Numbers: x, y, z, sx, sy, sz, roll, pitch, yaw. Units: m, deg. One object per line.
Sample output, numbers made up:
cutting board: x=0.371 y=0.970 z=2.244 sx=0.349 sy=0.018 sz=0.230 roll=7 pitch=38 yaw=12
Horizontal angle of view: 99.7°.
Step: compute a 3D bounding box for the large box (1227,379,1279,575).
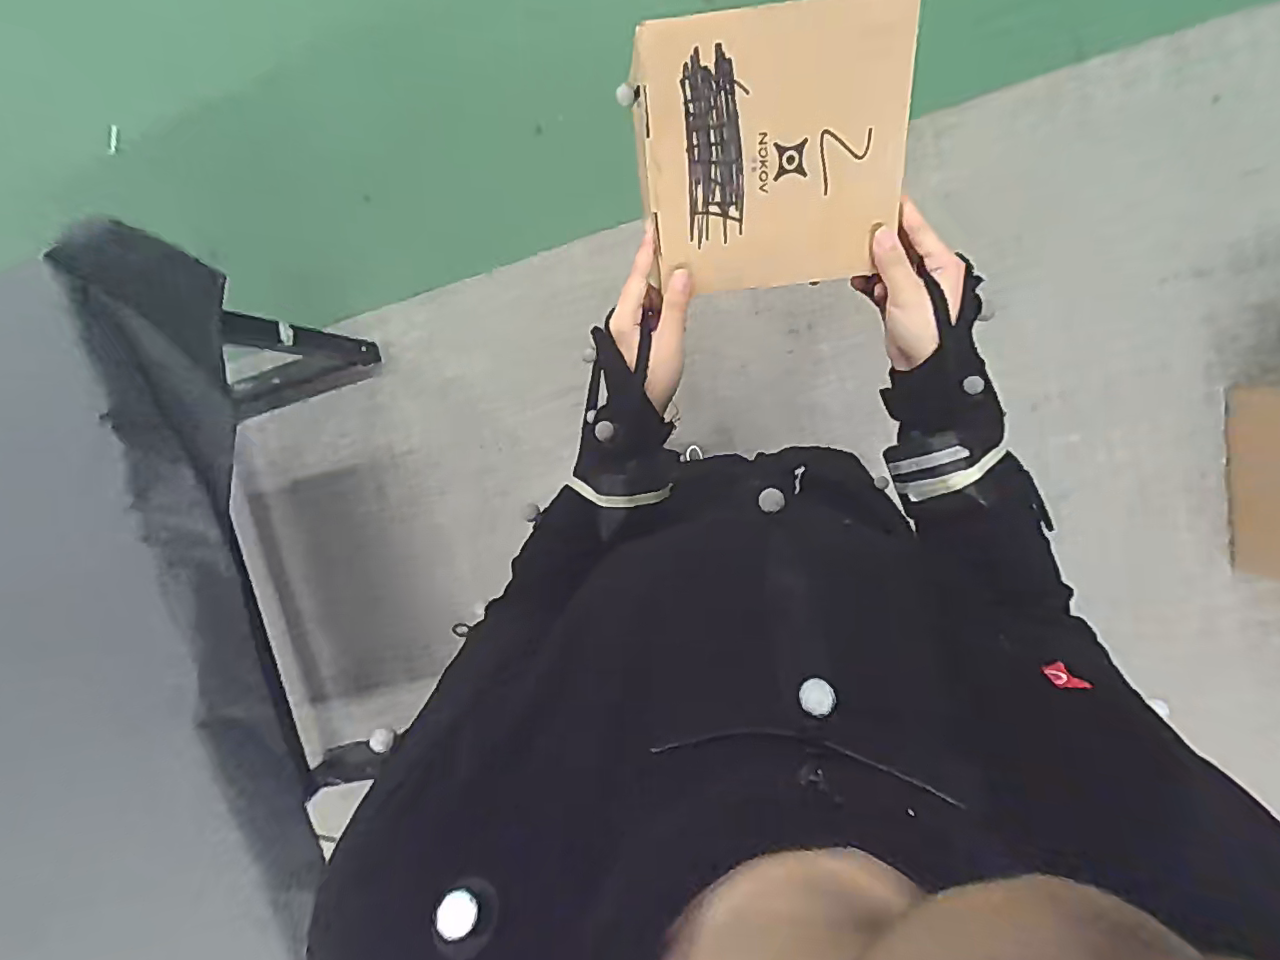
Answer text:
large box: x=1.412 y=-0.012 z=1.004 sx=0.320 sy=0.320 sz=0.408 roll=-8 pitch=96 yaw=11
